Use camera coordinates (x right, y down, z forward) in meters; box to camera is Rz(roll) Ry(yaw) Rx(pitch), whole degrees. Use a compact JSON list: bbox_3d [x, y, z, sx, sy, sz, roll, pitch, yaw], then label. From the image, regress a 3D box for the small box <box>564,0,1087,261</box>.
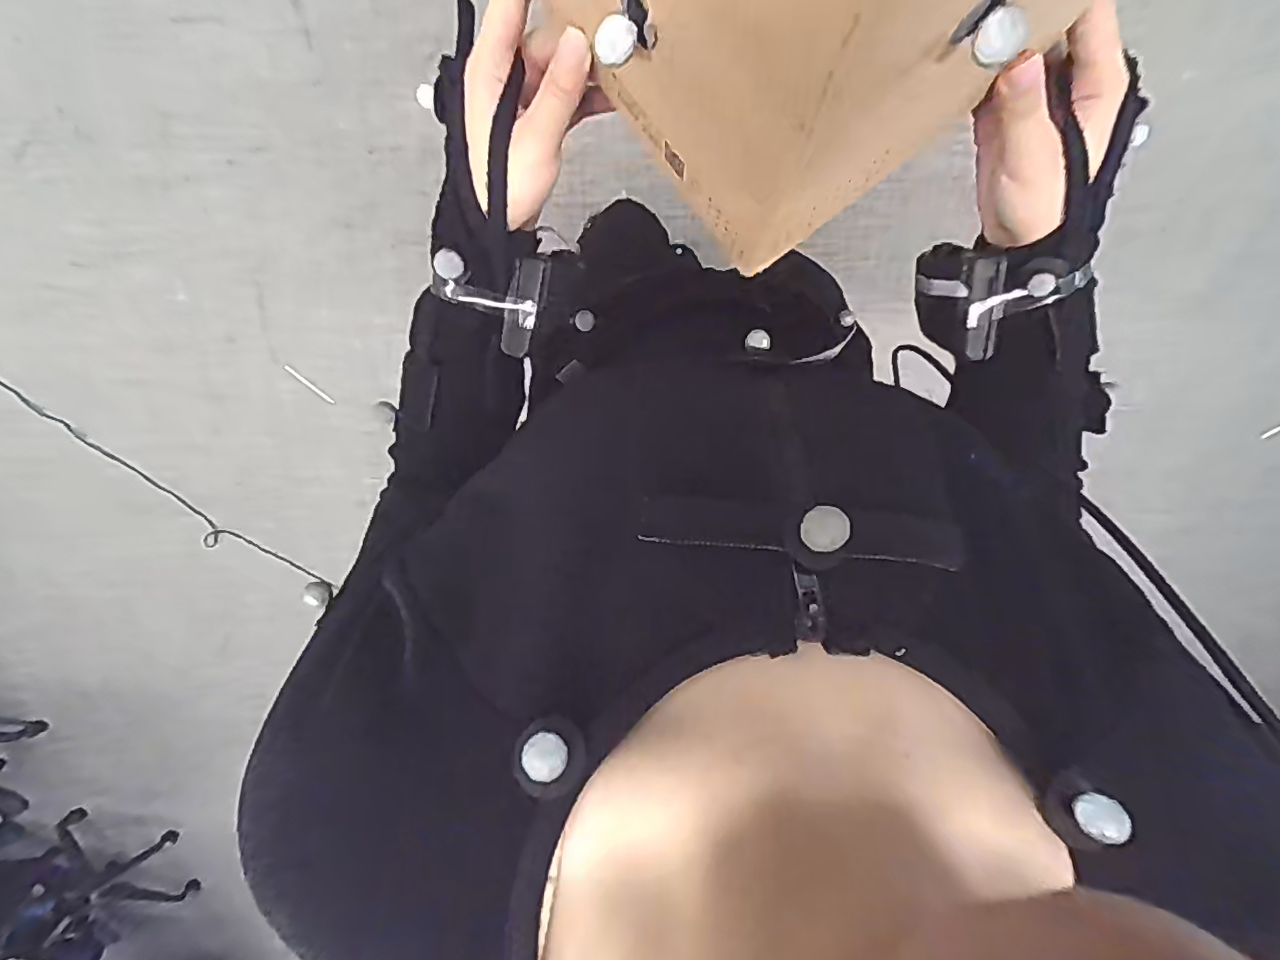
[{"bbox_3d":[0.067,-0.209,0.178,0.179,0.176,0.168,-37,90,5],"label":"small box"}]
